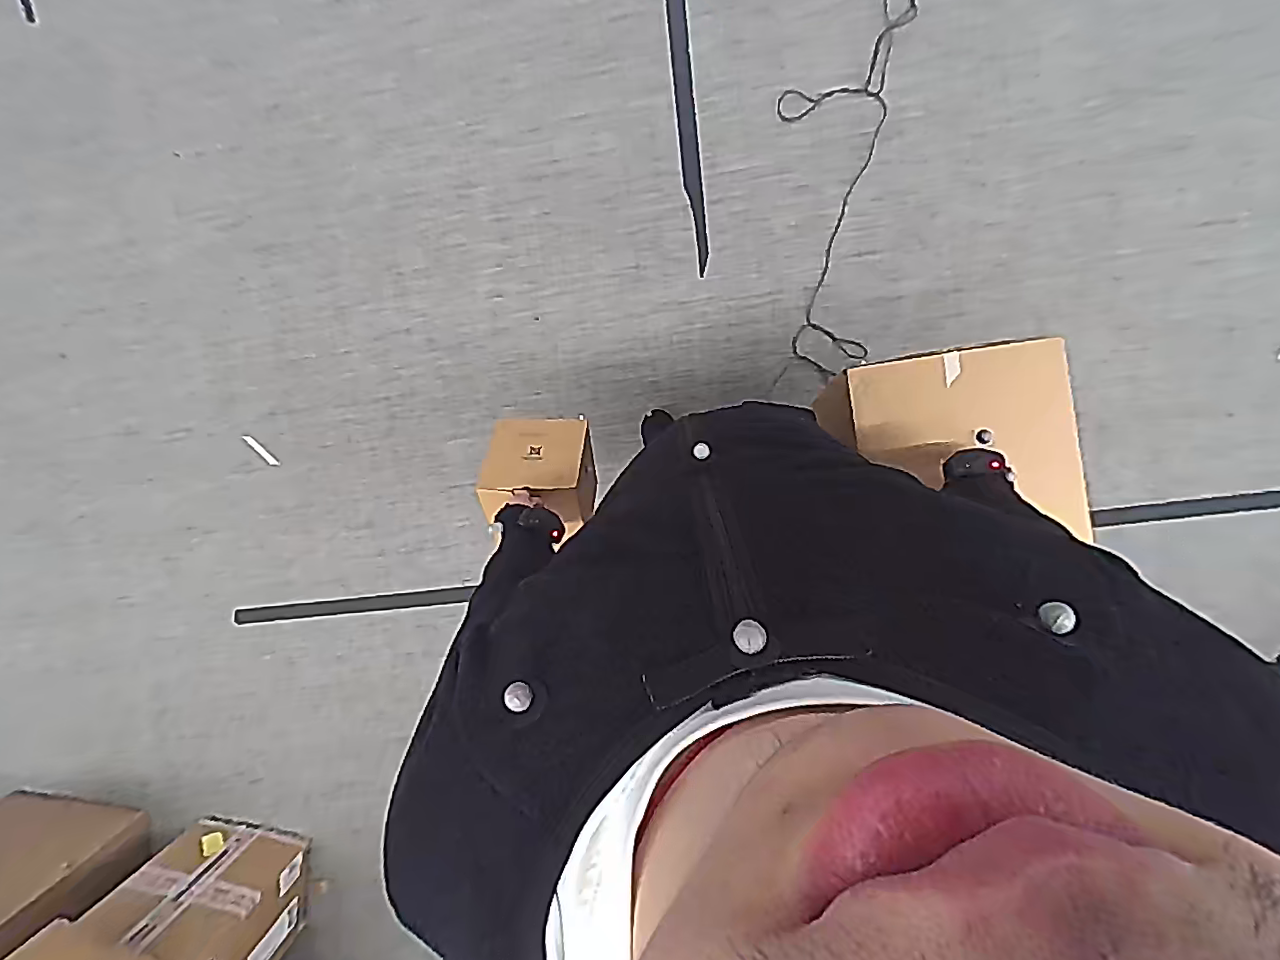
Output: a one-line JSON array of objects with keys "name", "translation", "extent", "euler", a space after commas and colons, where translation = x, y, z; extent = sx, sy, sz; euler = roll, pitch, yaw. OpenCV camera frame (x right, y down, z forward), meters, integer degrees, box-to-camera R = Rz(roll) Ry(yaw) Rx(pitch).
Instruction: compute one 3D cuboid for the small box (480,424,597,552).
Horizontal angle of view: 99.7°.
[{"name": "small box", "translation": [-0.173, 0.018, 0.986], "extent": [0.168, 0.179, 0.176], "euler": [0, 135, 3]}]
